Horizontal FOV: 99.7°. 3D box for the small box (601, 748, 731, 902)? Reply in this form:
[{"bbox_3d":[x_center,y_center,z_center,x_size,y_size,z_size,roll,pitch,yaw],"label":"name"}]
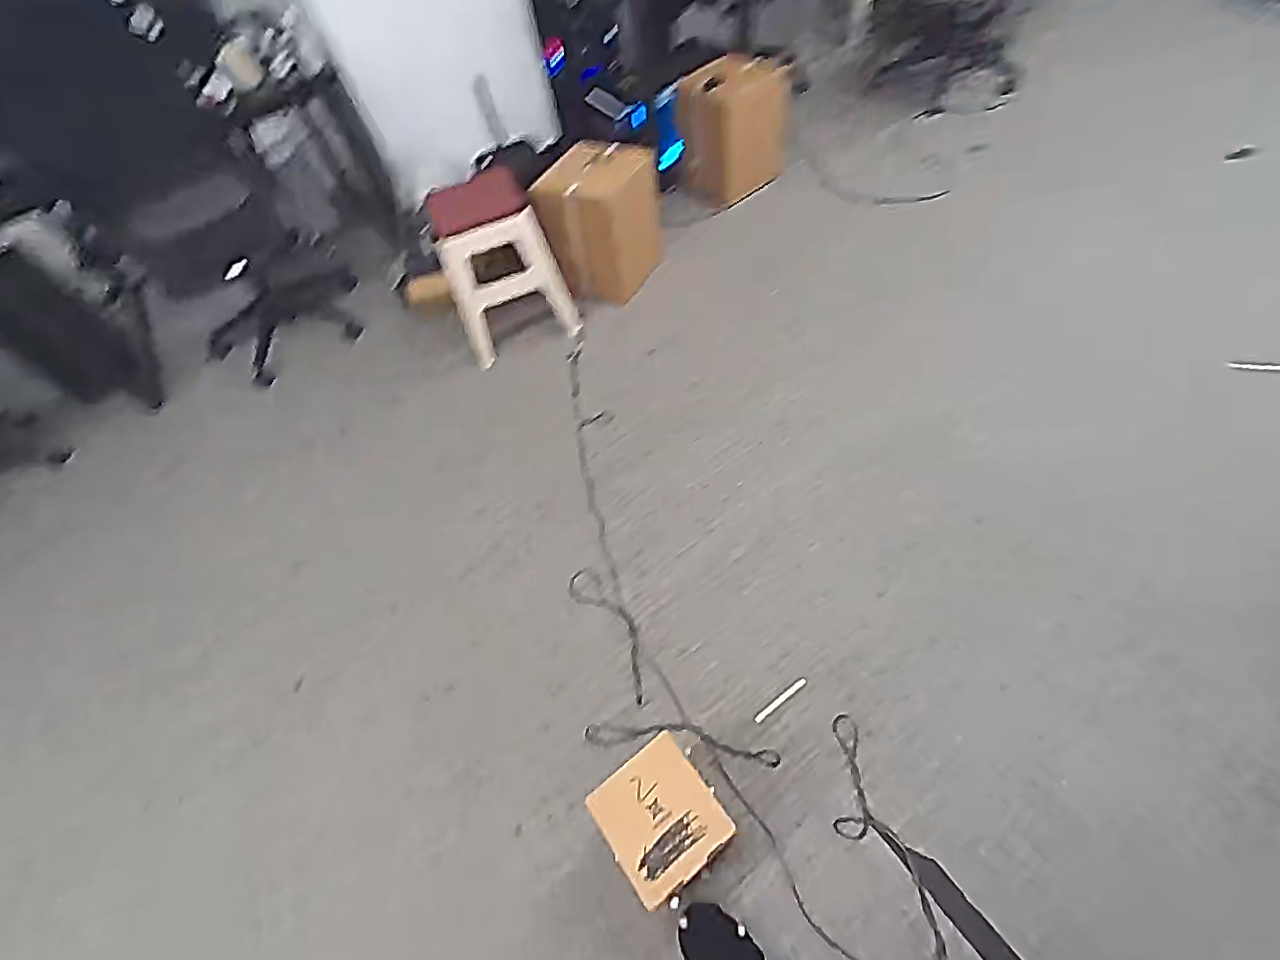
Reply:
[{"bbox_3d":[0.052,0.645,1.015,0.168,0.176,0.179,-36,58,-14],"label":"small box"}]
